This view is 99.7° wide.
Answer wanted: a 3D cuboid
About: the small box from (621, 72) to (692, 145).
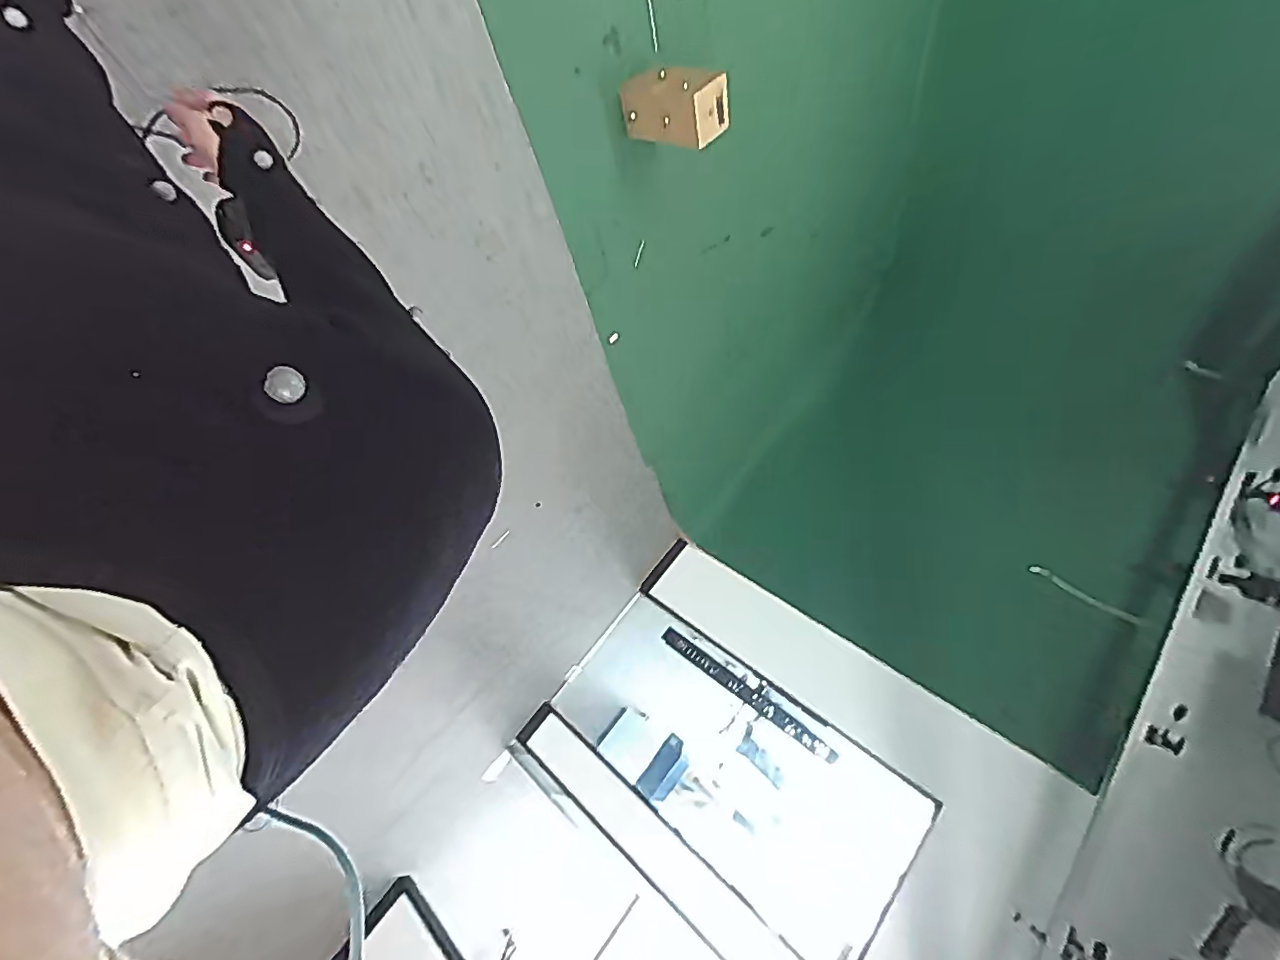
[{"bbox_3d":[0.060,-1.330,1.928,0.179,0.176,0.168,-47,146,-20],"label":"small box"}]
